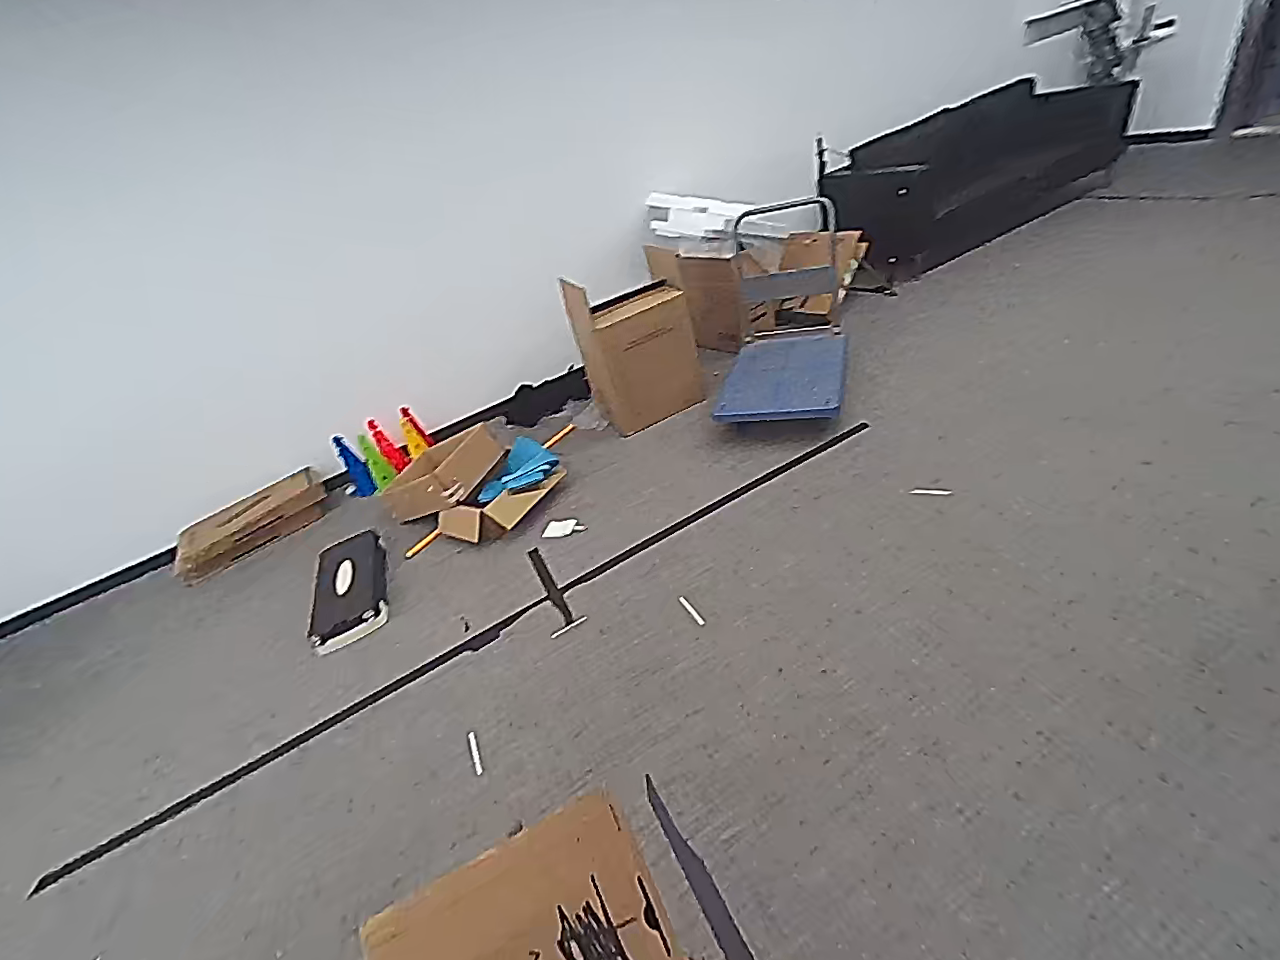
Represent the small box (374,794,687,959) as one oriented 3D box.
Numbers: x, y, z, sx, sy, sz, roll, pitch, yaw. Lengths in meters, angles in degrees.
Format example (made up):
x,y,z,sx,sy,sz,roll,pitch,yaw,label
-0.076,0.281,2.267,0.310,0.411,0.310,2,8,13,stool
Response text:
x,y,z,sx,sy,sz,roll,pitch,yaw,label
-0.060,0.361,0.397,0.179,0.176,0.168,-24,57,-13,small box
